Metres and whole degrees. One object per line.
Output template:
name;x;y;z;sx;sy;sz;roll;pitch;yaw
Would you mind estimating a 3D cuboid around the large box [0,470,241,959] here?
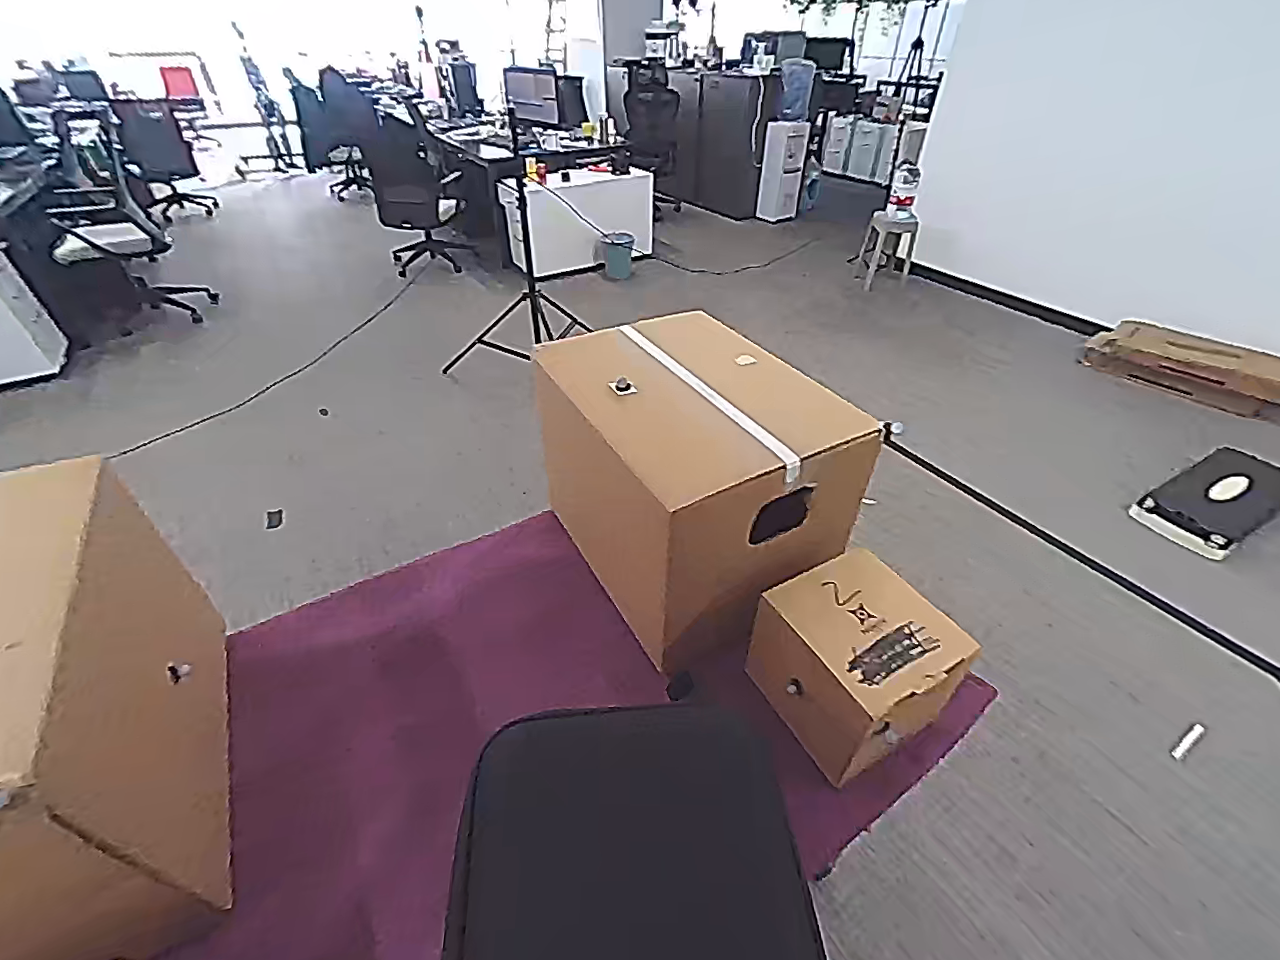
large box;-0.632;0.258;0.518;0.320;0.320;0.408;-21;47;-25
